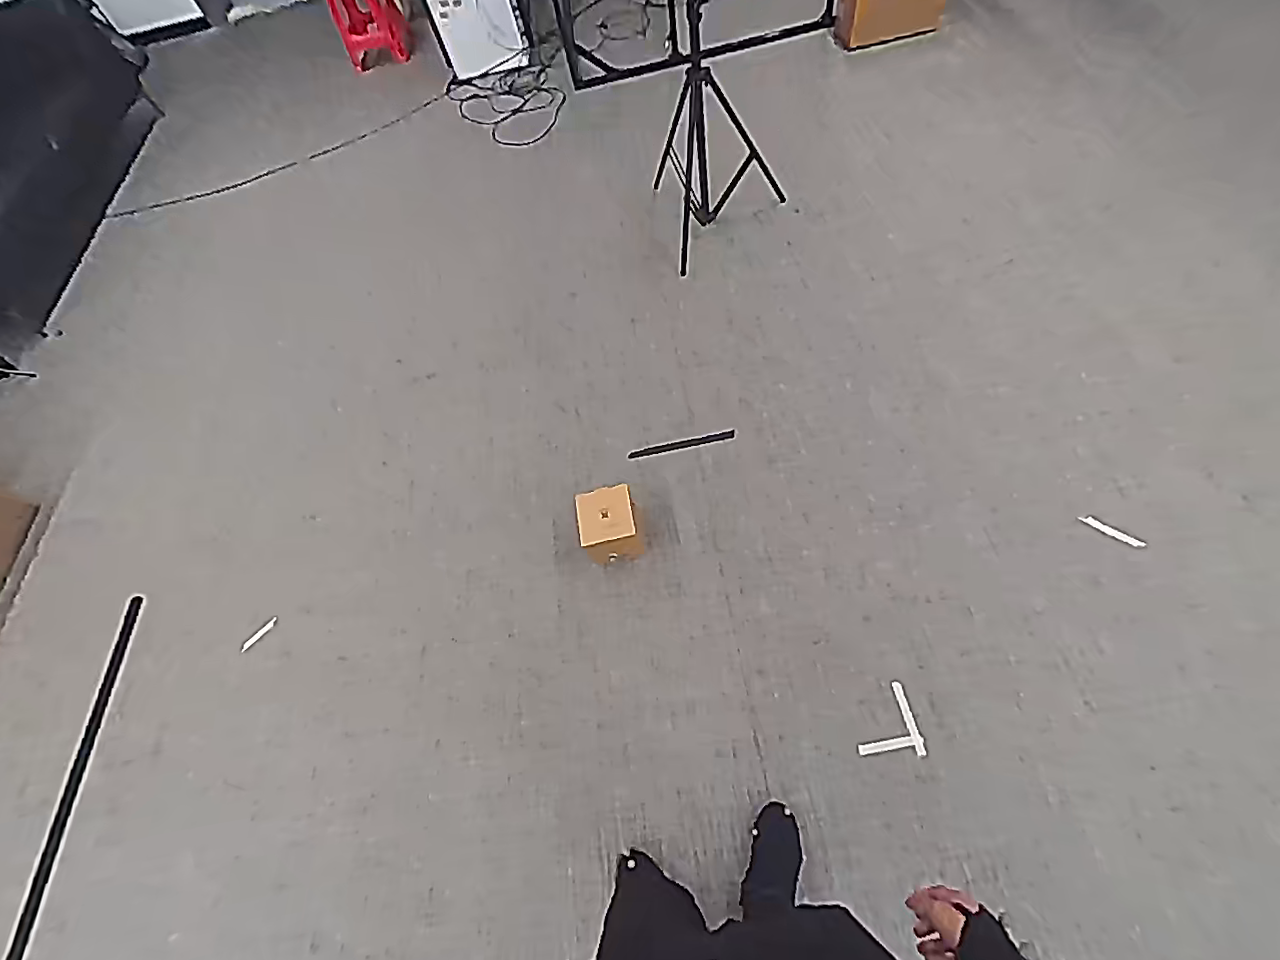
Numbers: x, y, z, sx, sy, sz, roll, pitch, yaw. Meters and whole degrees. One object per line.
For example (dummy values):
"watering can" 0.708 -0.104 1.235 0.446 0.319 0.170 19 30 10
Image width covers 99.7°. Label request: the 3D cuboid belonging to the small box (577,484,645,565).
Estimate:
"small box" -0.088 0.141 1.669 0.168 0.176 0.179 -13 61 4
